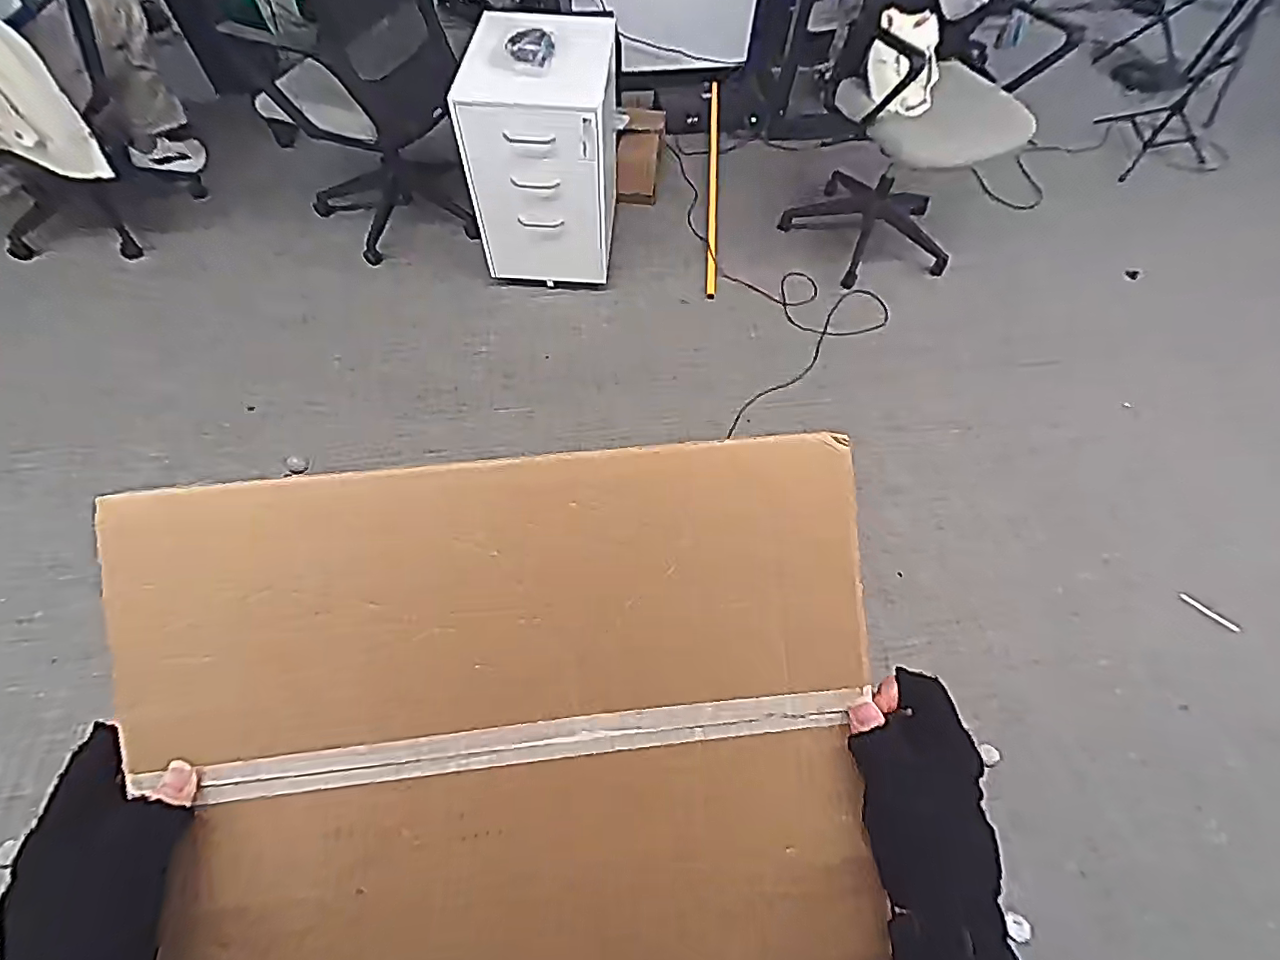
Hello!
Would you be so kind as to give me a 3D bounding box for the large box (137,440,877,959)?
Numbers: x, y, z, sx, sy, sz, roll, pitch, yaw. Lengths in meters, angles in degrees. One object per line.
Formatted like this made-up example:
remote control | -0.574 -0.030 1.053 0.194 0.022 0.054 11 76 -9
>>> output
large box | -0.078 0.148 0.460 0.408 0.320 0.320 -5 92 -3
